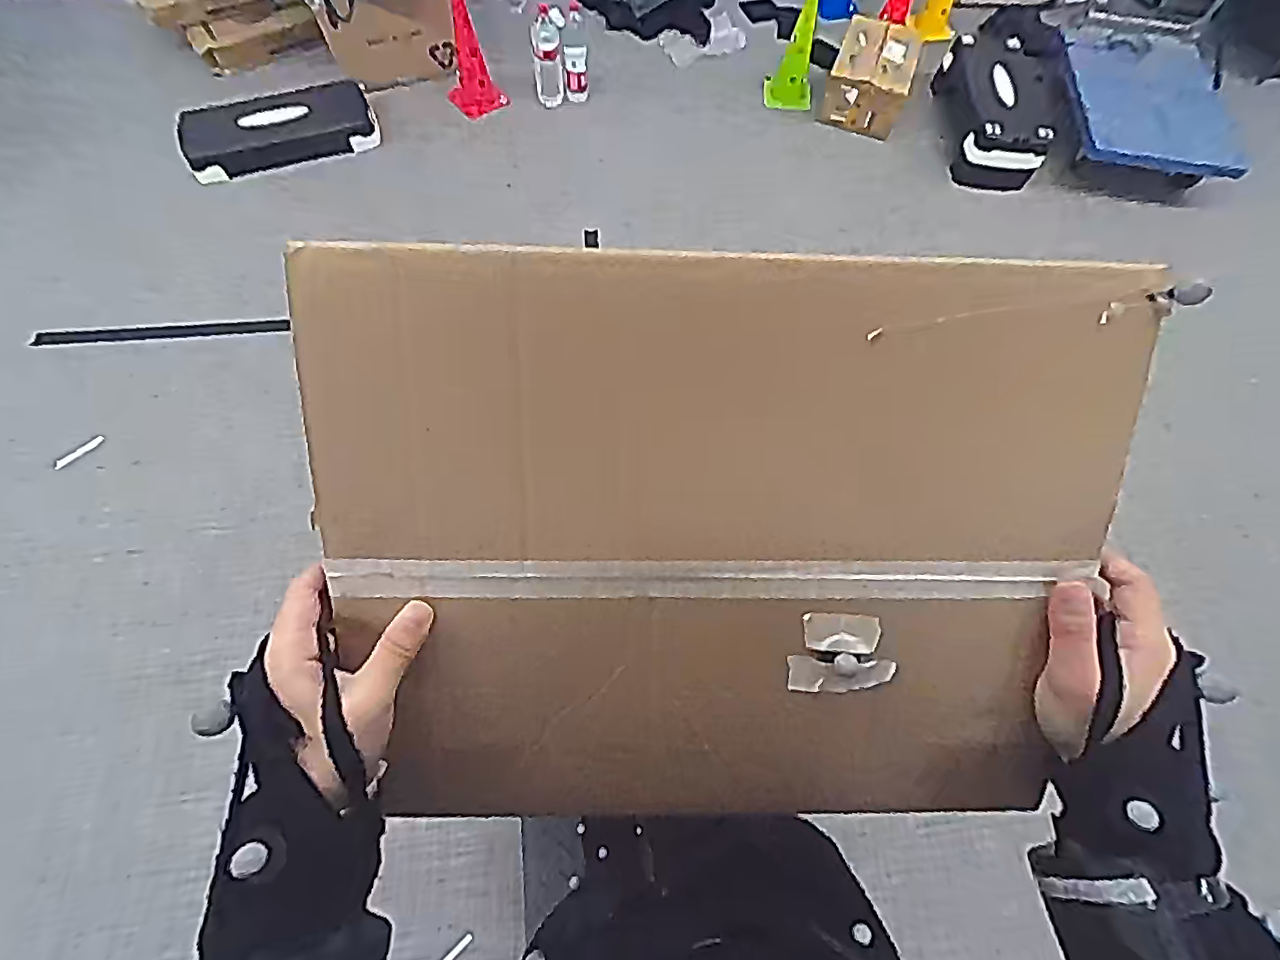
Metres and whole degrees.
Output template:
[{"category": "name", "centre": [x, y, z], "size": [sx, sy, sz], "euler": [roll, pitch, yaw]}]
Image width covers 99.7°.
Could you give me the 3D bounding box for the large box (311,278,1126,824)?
[{"category": "large box", "centre": [0.036, 0.018, 0.439], "size": [0.408, 0.320, 0.320], "euler": [0, 106, -3]}]
